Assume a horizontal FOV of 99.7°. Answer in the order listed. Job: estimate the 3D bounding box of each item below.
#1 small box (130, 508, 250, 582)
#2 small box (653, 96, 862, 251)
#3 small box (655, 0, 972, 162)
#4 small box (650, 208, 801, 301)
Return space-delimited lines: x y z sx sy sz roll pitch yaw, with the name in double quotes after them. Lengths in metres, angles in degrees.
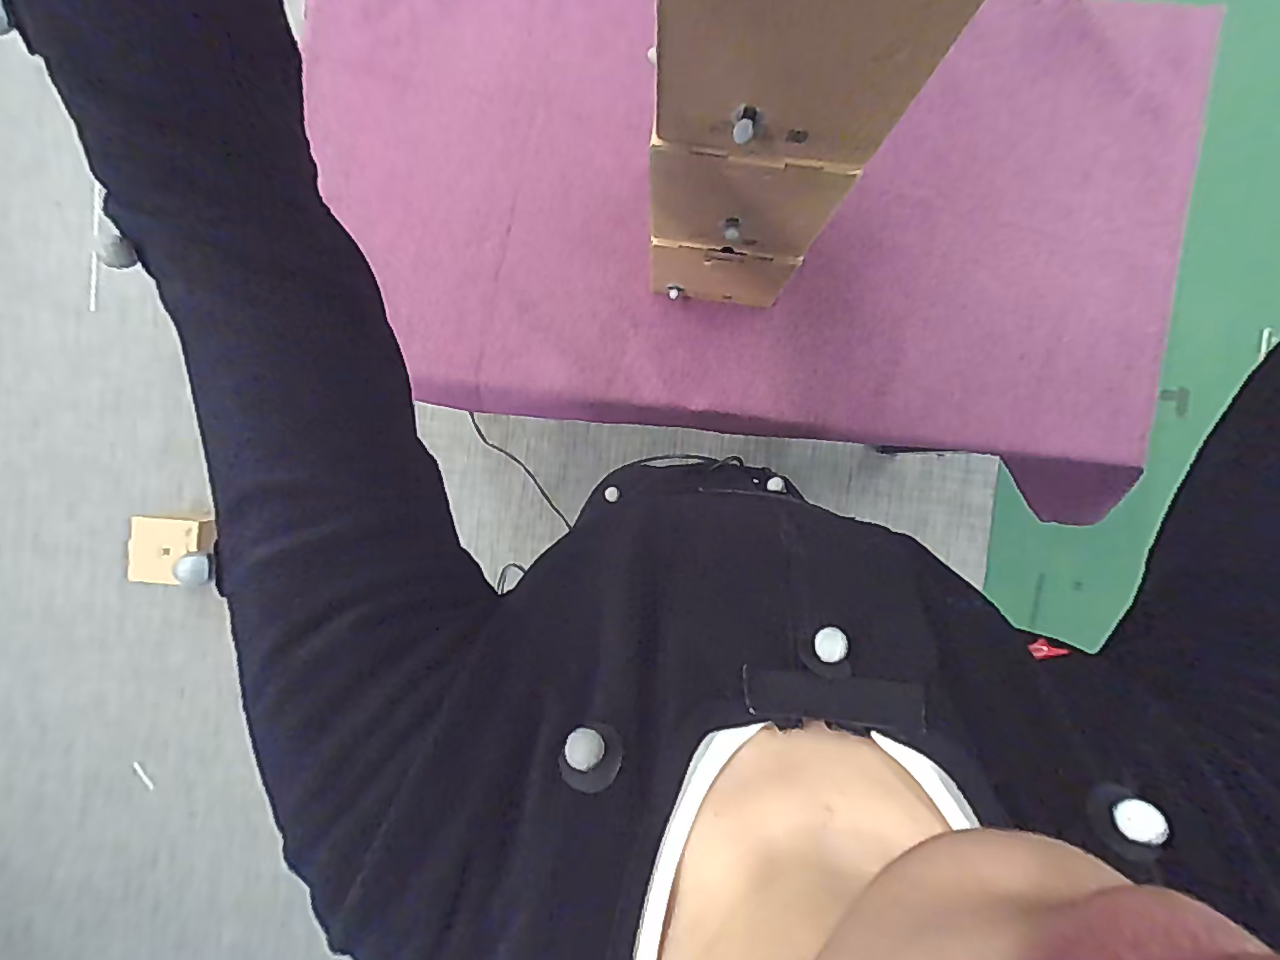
-1.188 0.167 1.436 0.179 0.176 0.168 6 92 2 "small box"
0.103 -0.338 0.495 0.168 0.176 0.179 8 92 2 "small box"
0.100 -0.337 0.332 0.168 0.176 0.179 8 92 2 "small box"
0.108 -0.335 0.659 0.168 0.176 0.179 9 91 1 "small box"
